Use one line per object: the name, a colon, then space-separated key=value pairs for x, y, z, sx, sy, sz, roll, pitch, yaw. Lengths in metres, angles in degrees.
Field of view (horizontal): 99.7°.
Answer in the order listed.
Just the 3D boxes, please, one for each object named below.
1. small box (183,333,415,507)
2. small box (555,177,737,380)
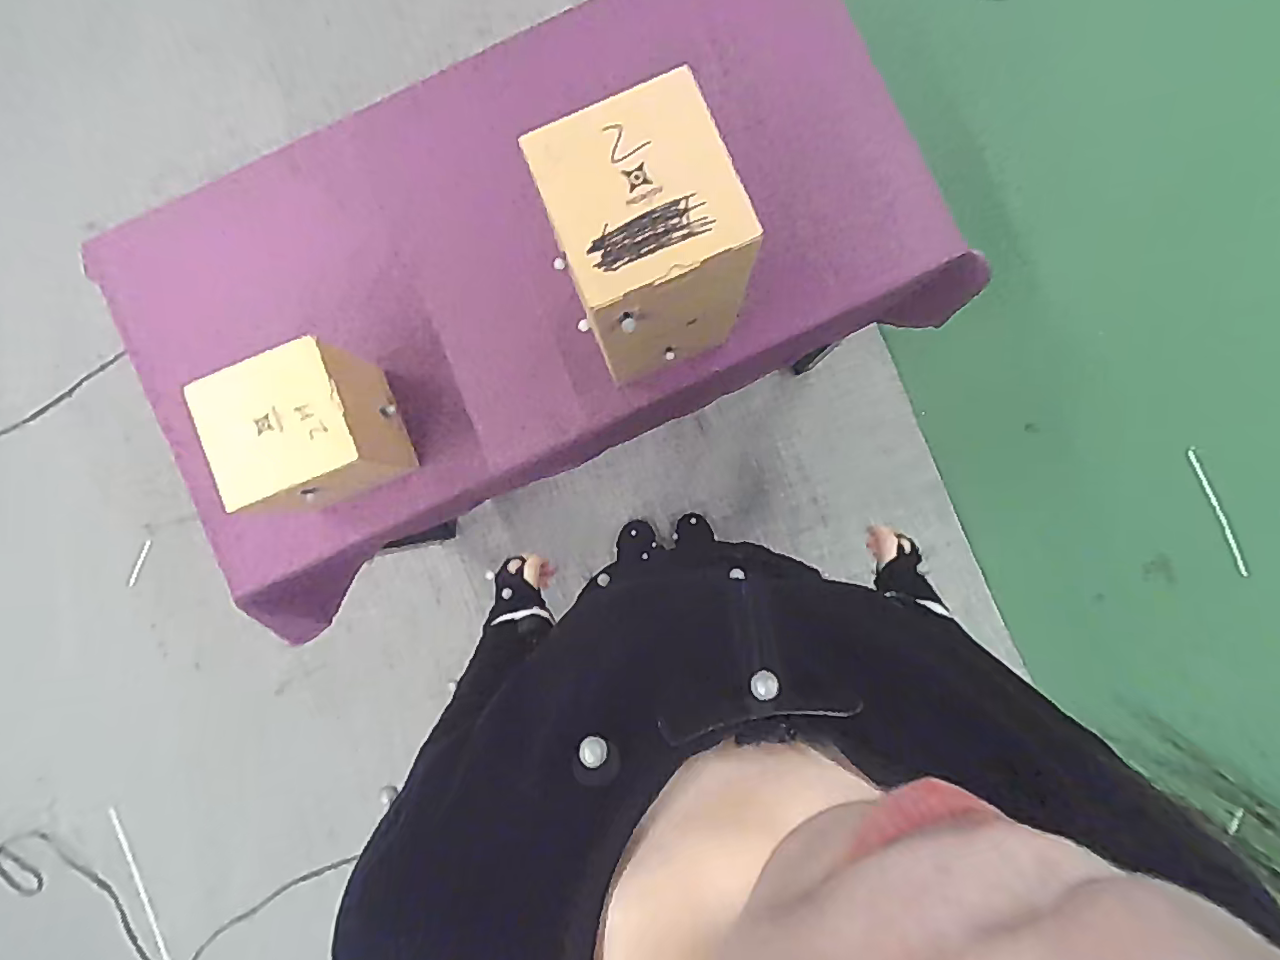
small box: x=-0.441 y=-0.068 z=0.726 sx=0.179 sy=0.176 sz=0.168 roll=-22 pitch=87 yaw=1
small box: x=0.009 y=-0.252 z=0.720 sx=0.179 sy=0.176 sz=0.168 roll=-22 pitch=86 yaw=2
